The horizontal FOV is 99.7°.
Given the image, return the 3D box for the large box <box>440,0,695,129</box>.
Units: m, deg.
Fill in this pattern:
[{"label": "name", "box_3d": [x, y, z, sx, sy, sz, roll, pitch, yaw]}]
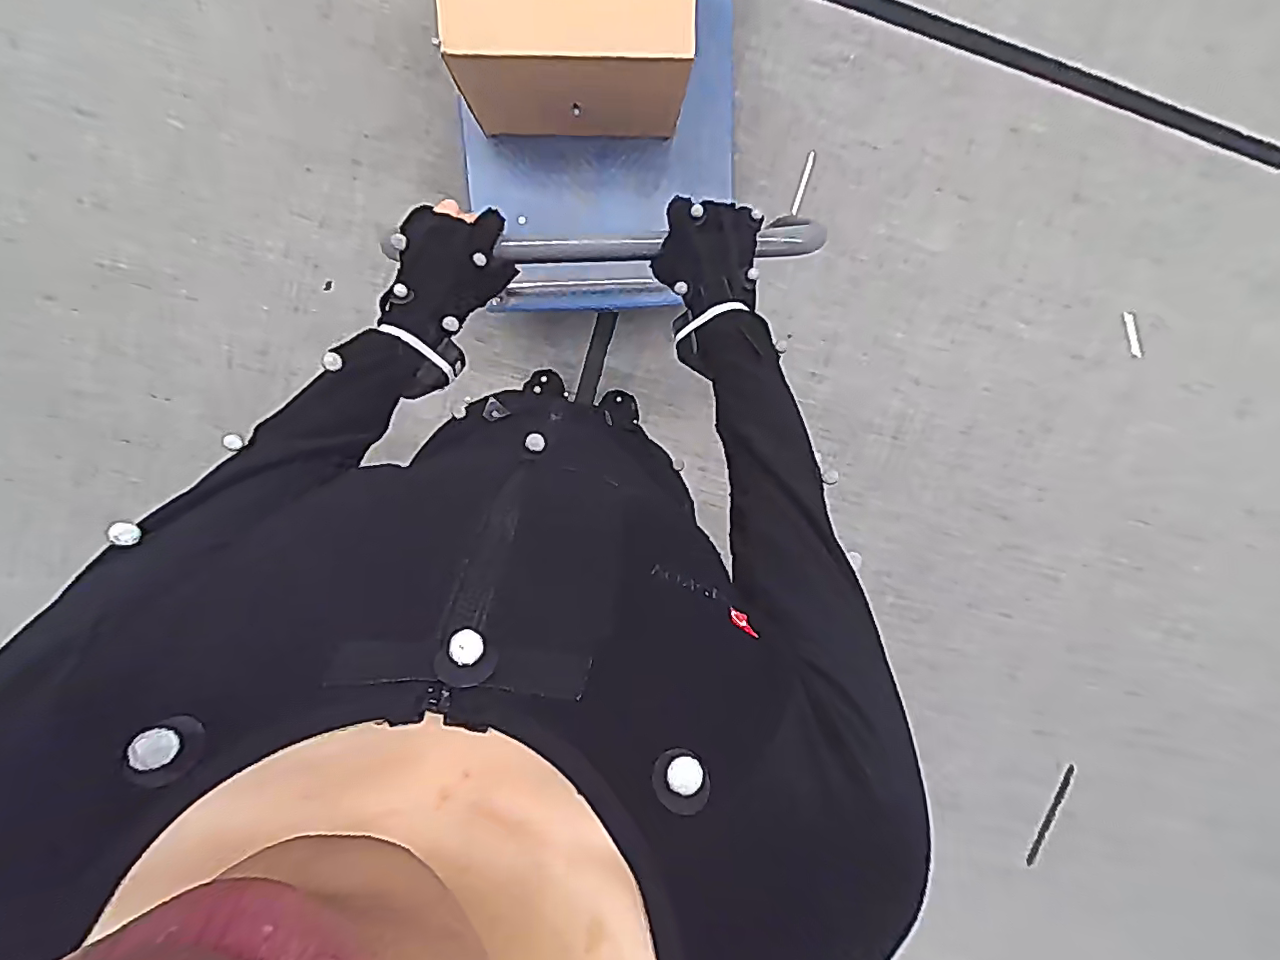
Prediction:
[{"label": "large box", "box_3d": [-0.118, -0.859, 0.969, 0.408, 0.320, 0.320, -1, 102, -2]}]
